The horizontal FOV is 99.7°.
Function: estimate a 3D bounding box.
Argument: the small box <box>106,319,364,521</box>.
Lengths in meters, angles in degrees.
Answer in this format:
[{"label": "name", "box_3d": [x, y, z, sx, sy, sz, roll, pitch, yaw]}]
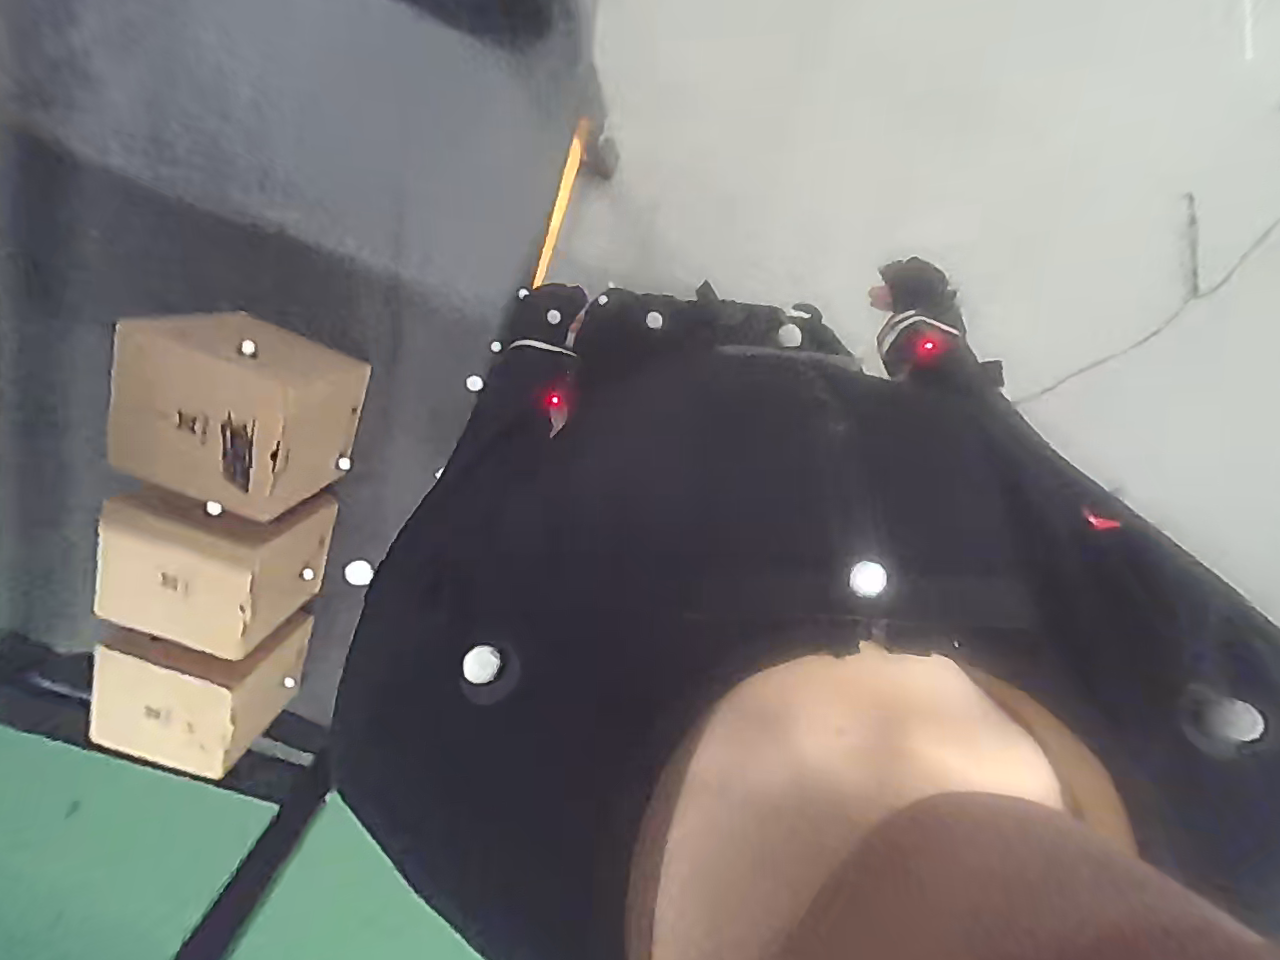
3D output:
[{"label": "small box", "box_3d": [-0.461, -0.082, 0.638, 0.179, 0.176, 0.168, 22, 109, -5]}]
